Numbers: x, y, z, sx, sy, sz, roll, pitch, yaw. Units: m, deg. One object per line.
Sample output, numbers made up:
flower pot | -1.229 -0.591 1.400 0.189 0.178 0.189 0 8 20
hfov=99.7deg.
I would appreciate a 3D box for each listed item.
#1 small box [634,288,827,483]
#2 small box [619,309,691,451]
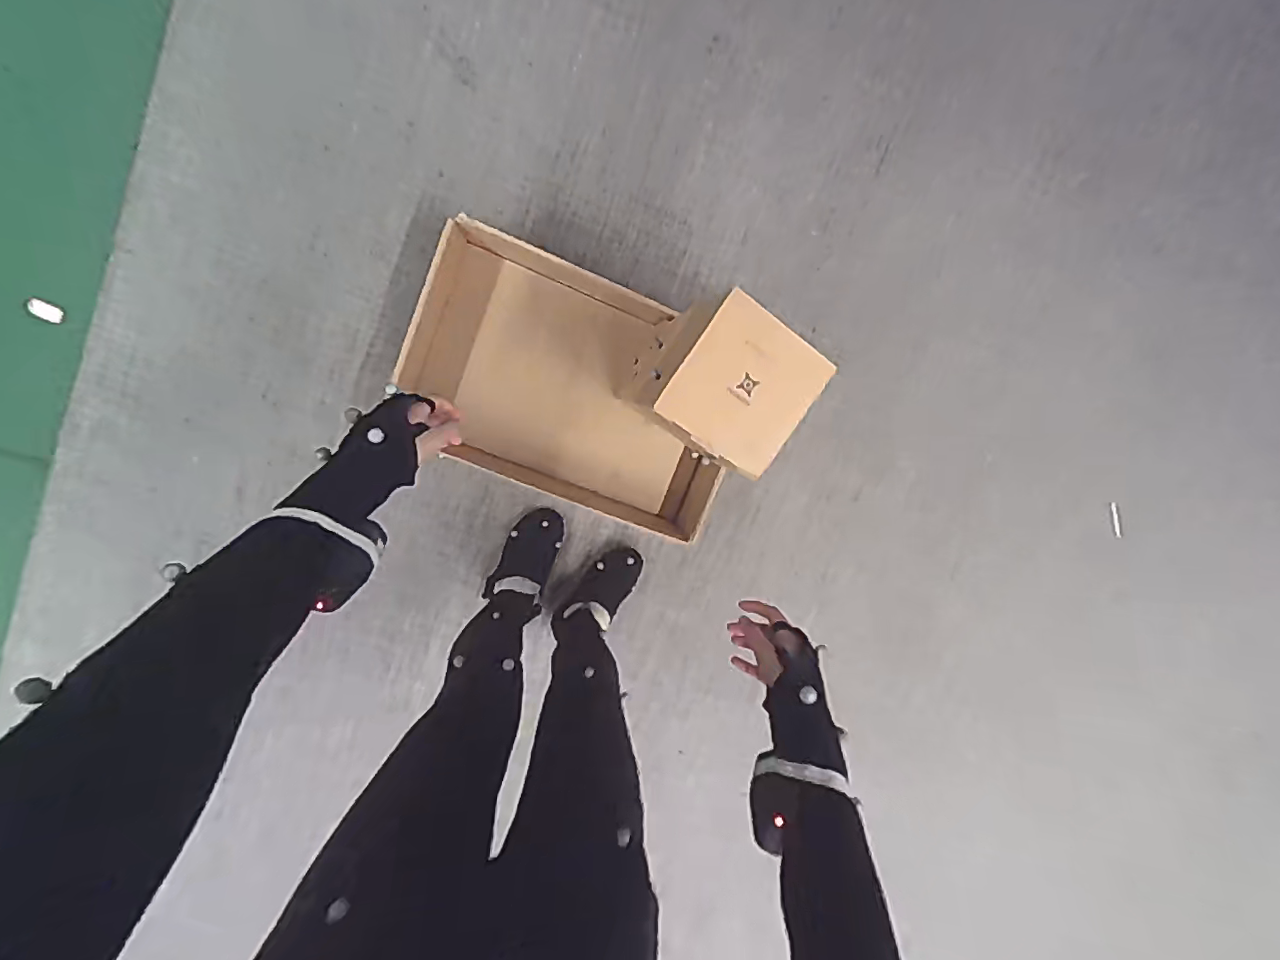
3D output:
small box | 0.105 -0.123 0.725 0.168 0.176 0.179 35 93 -13
small box | 0.080 -0.150 0.884 0.179 0.176 0.168 32 95 -12
